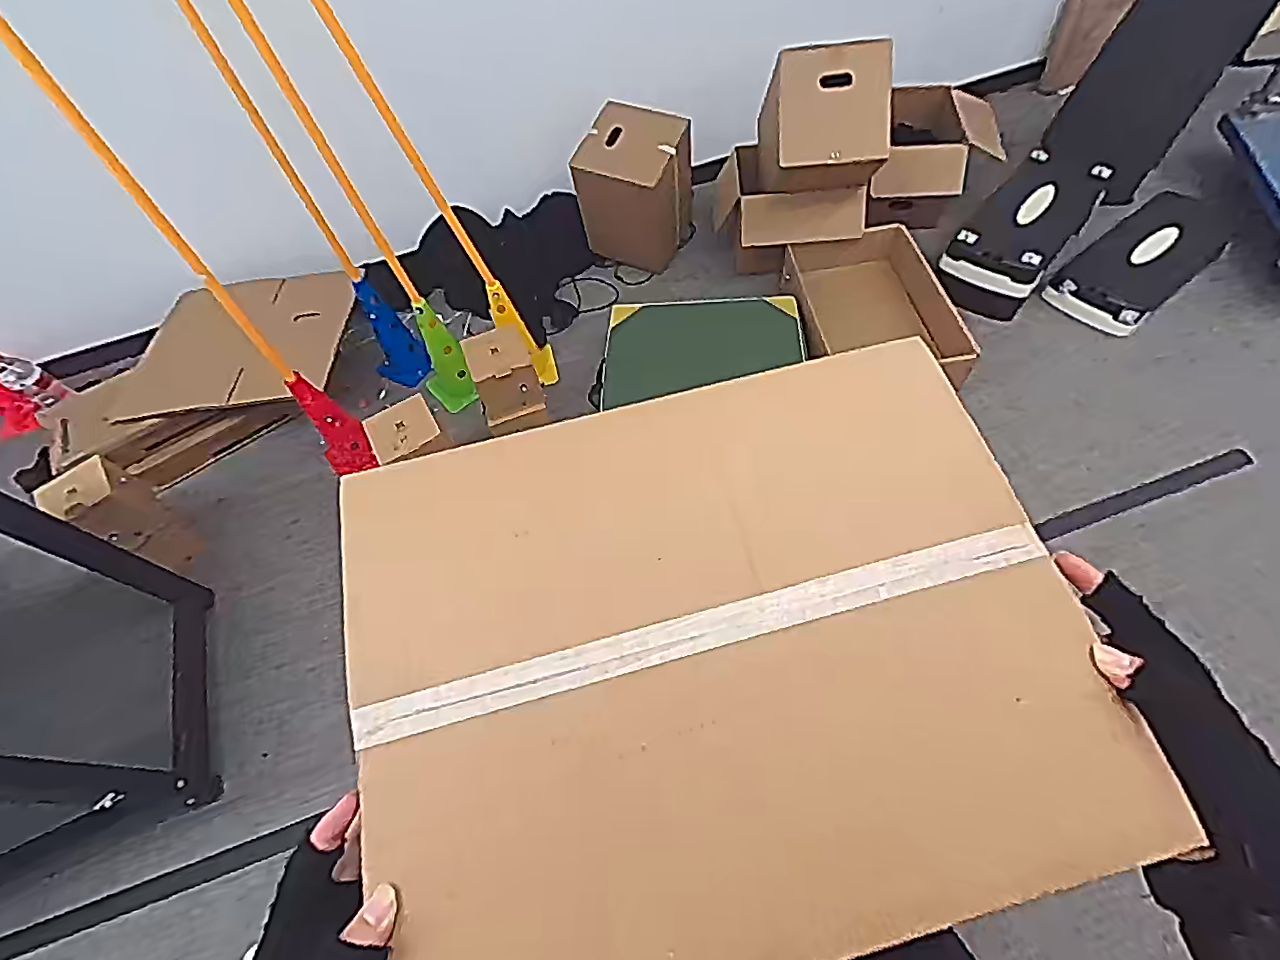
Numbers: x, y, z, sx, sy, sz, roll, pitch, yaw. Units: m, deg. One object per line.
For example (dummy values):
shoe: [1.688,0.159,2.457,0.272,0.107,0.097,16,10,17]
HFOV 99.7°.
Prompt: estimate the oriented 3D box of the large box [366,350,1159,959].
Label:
large box: [0.048,0.149,0.461,0.408,0.320,0.320,-15,68,-4]
